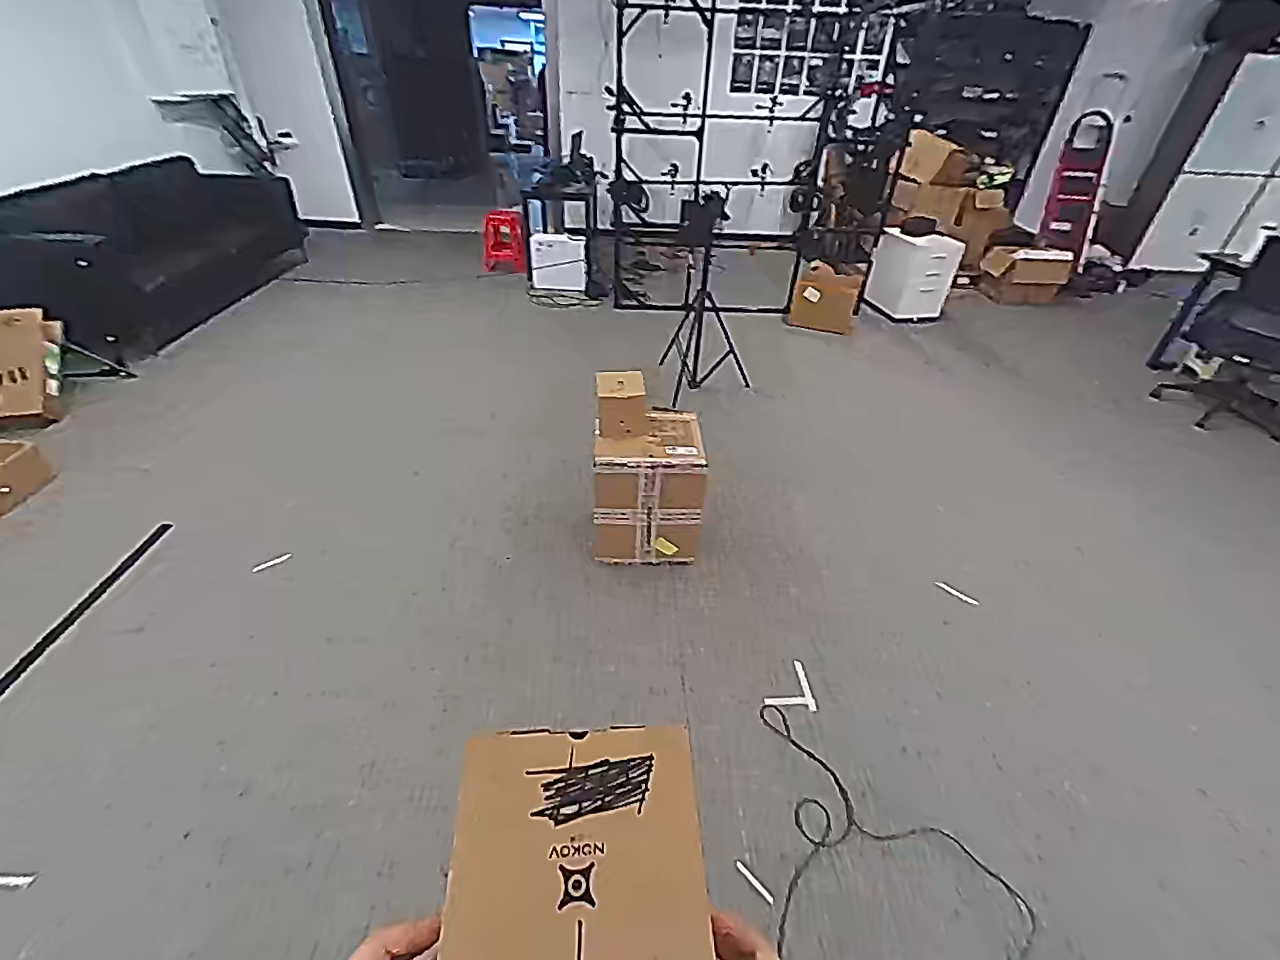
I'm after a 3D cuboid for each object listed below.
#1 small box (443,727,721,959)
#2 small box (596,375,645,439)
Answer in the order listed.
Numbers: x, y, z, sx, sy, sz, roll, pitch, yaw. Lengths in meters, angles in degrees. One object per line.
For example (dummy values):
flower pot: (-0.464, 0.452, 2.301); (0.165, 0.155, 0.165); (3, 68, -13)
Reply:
small box: (-0.043, 0.306, 0.405); (0.168, 0.176, 0.179); (0, 47, -6)
small box: (-0.073, -0.266, 1.961); (0.168, 0.176, 0.179); (-4, 40, -4)
